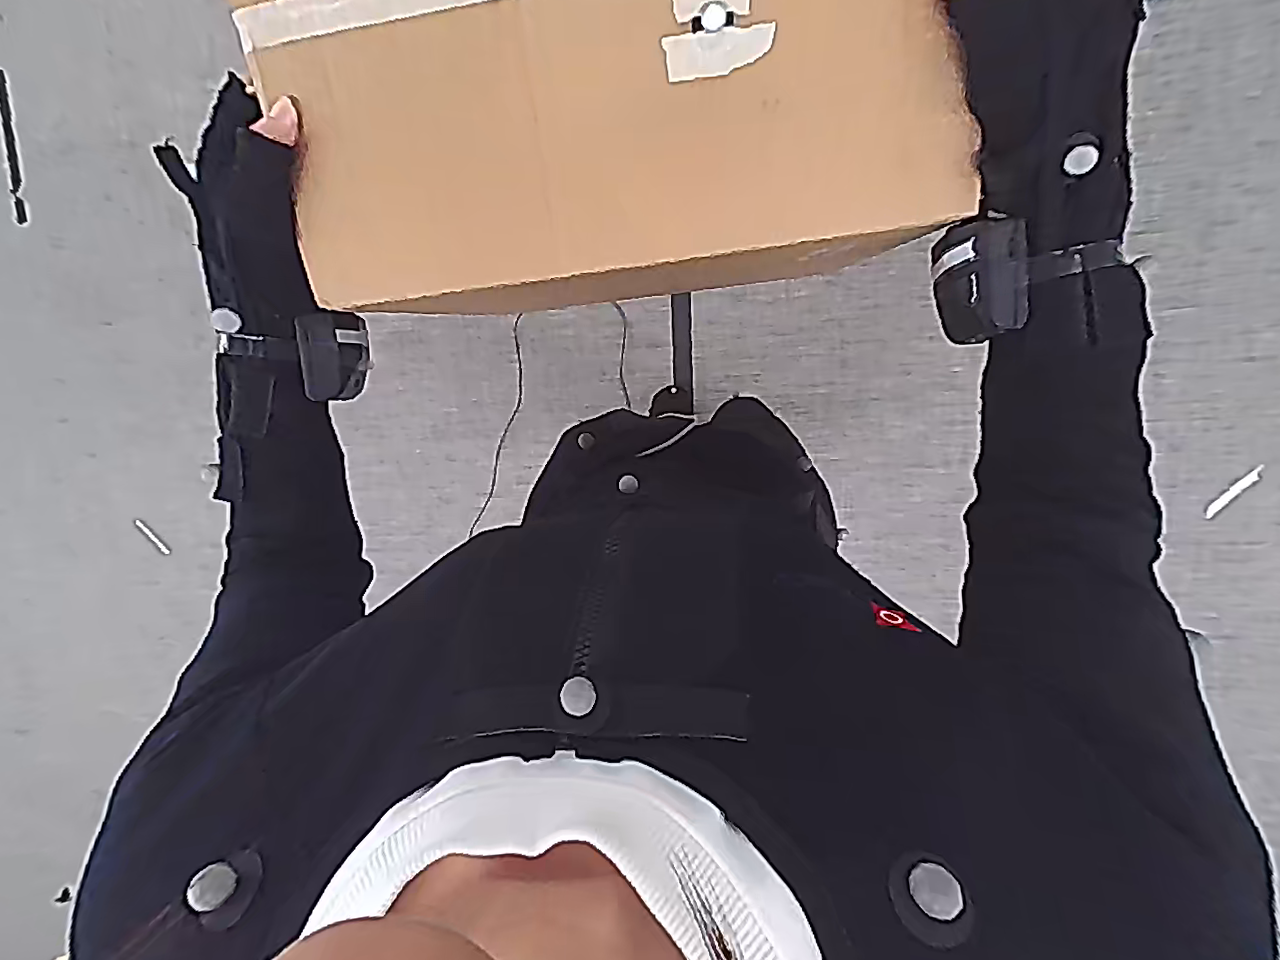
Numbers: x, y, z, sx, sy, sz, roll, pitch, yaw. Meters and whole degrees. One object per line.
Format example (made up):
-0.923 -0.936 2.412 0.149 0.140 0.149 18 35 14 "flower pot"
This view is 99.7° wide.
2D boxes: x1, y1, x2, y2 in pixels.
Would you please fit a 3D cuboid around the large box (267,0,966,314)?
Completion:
-0.014 -0.328 0.446 0.408 0.320 0.320 -6 106 7 "large box"
